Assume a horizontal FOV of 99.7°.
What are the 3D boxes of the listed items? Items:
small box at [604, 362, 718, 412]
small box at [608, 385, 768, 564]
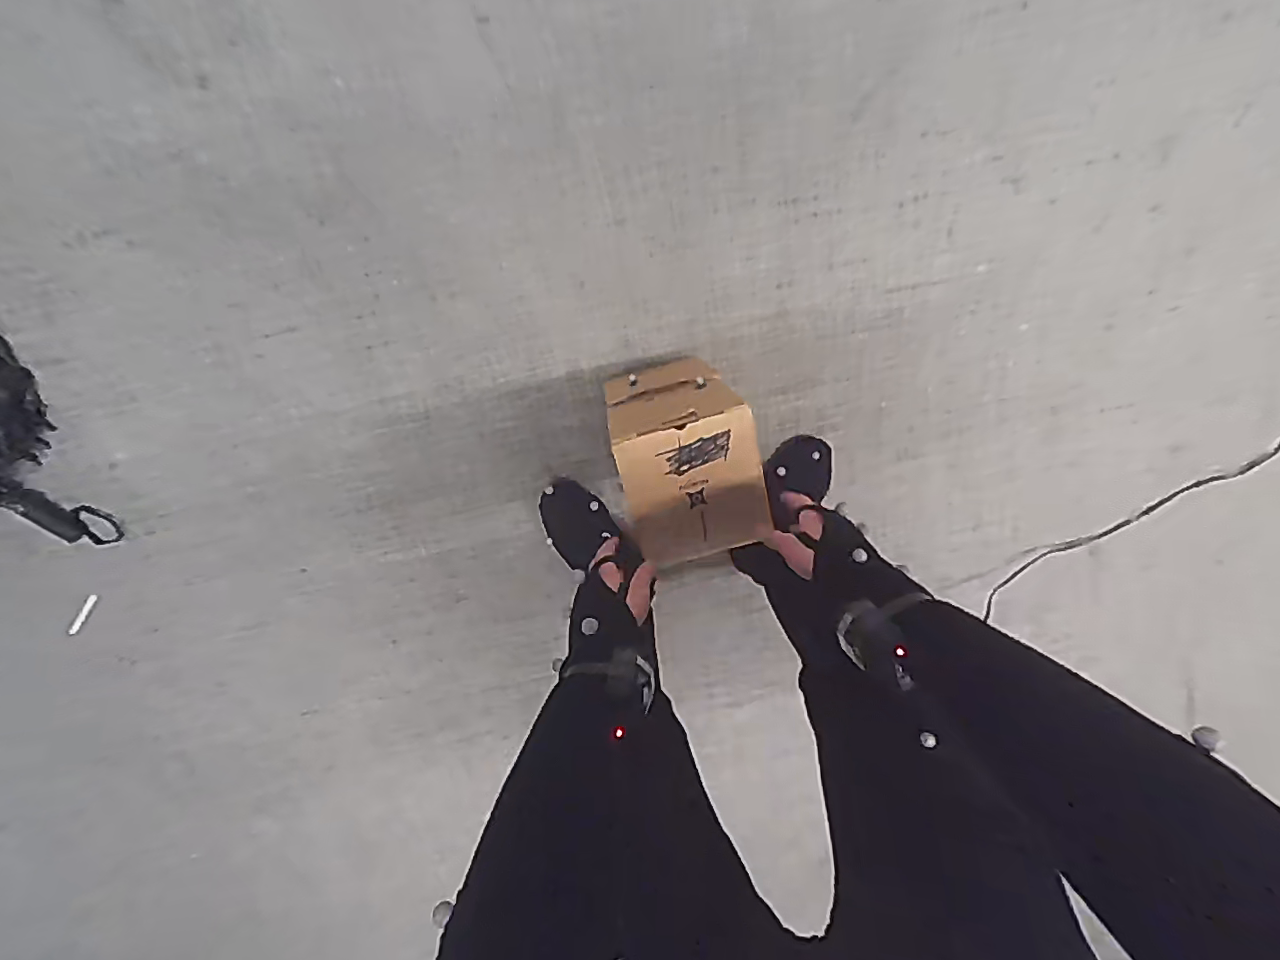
[{"bbox_3d":[0.041,-0.085,0.874,0.168,0.176,0.179,-15,113,1],"label":"small box"},{"bbox_3d":[0.056,-0.019,0.724,0.168,0.176,0.179,-15,112,2],"label":"small box"}]
